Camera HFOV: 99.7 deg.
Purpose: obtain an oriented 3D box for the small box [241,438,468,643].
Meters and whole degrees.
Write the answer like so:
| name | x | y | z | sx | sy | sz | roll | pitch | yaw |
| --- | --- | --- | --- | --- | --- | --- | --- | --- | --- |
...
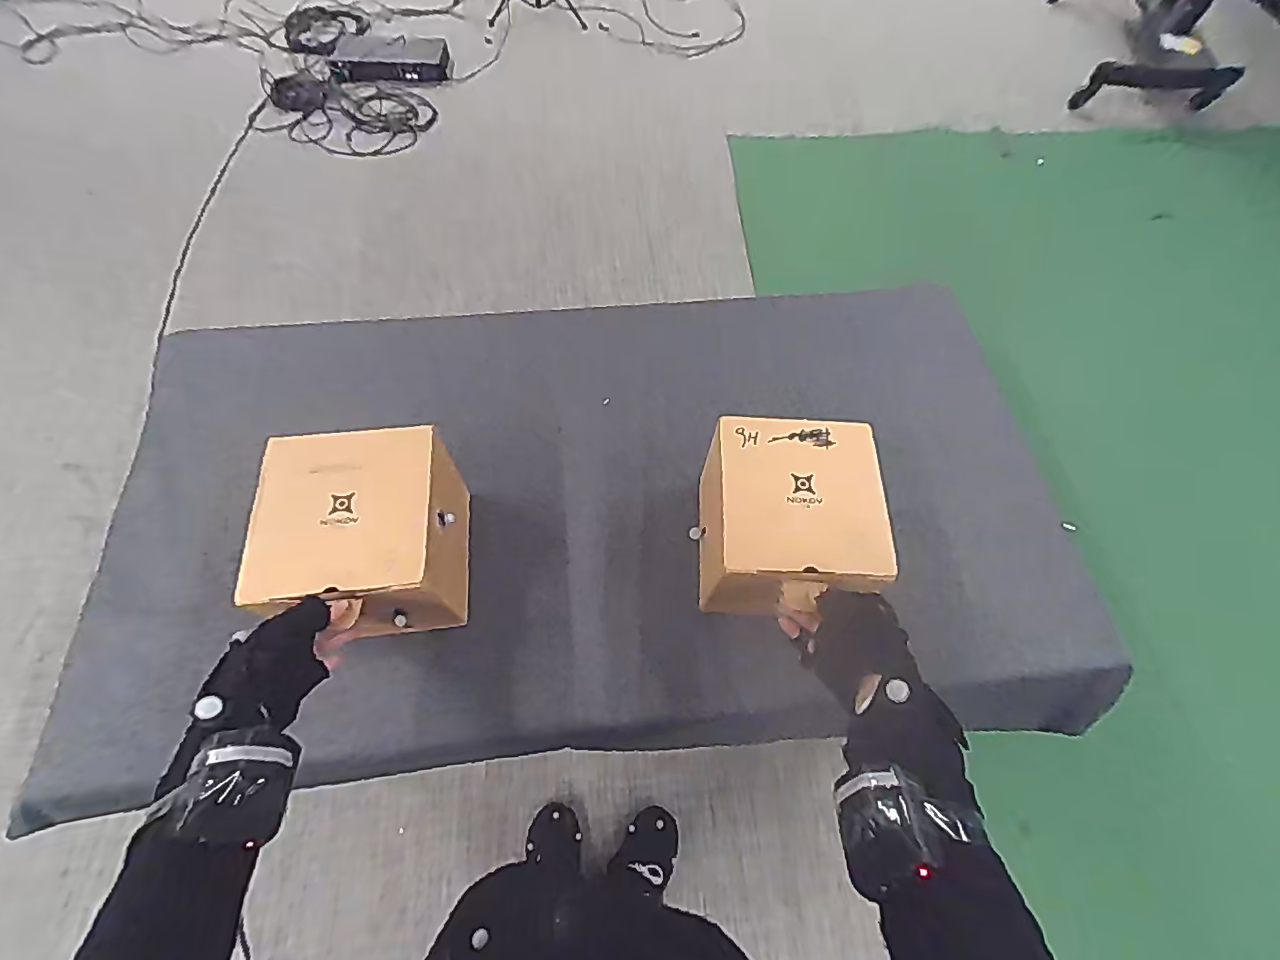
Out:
| name | x | y | z | sx | sy | sz | roll | pitch | yaw |
| --- | --- | --- | --- | --- | --- | --- | --- | --- | --- |
| small box | -0.294 | 0.076 | 0.603 | 0.168 | 0.176 | 0.179 | -6 | 62 | -6 |

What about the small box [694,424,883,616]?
| name | x | y | z | sx | sy | sz | roll | pitch | yaw |
| --- | --- | --- | --- | --- | --- | --- | --- | --- | --- |
| small box | 0.155 | 0.055 | 0.625 | 0.168 | 0.176 | 0.179 | 3 | 64 | -1 |
